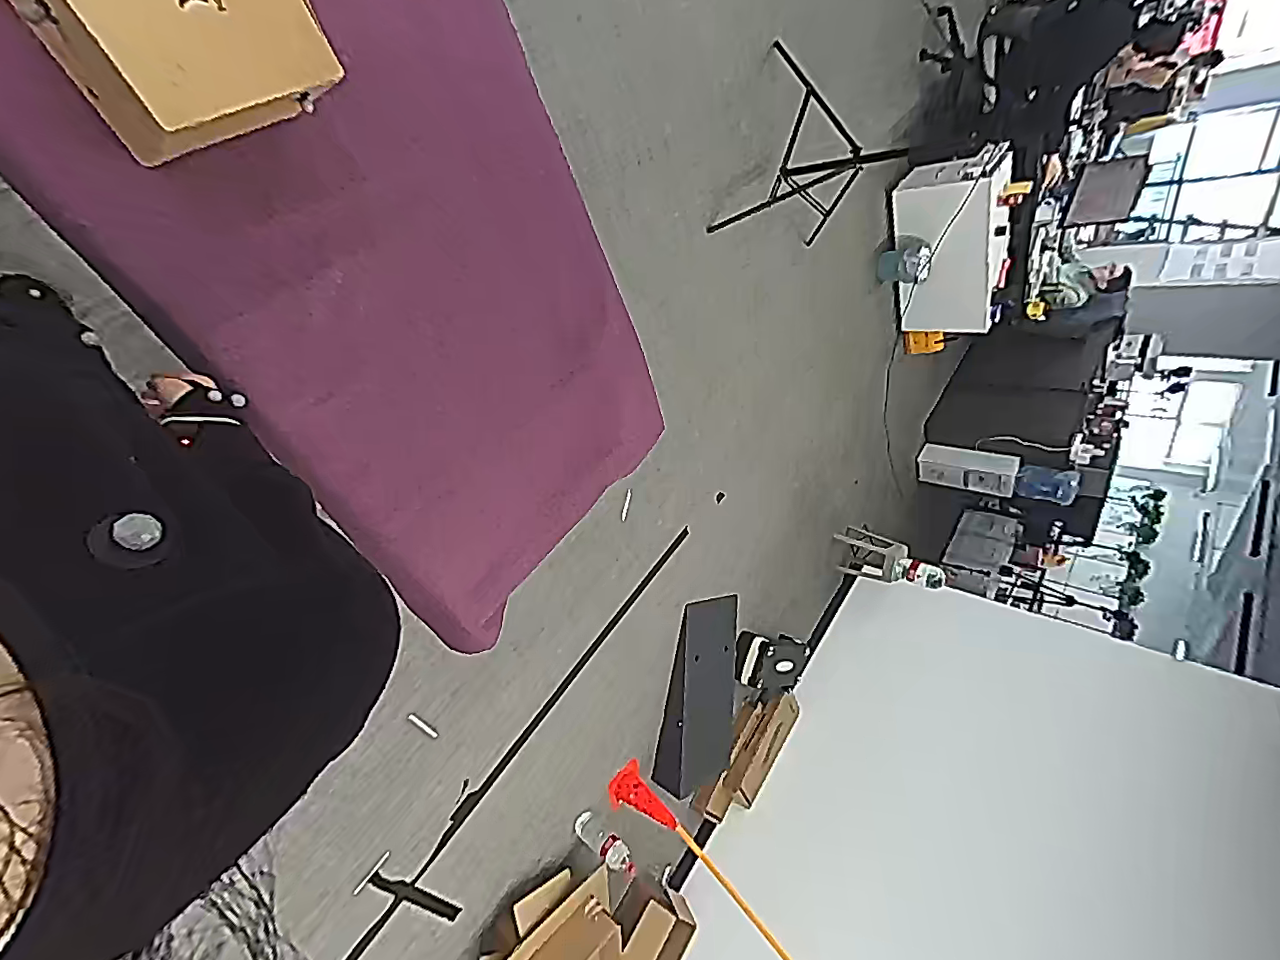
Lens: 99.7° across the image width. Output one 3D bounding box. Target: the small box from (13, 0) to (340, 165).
[{"bbox_3d":[-0.431,-0.418,0.500,0.179,0.176,0.168,-48,133,-29],"label":"small box"}]
